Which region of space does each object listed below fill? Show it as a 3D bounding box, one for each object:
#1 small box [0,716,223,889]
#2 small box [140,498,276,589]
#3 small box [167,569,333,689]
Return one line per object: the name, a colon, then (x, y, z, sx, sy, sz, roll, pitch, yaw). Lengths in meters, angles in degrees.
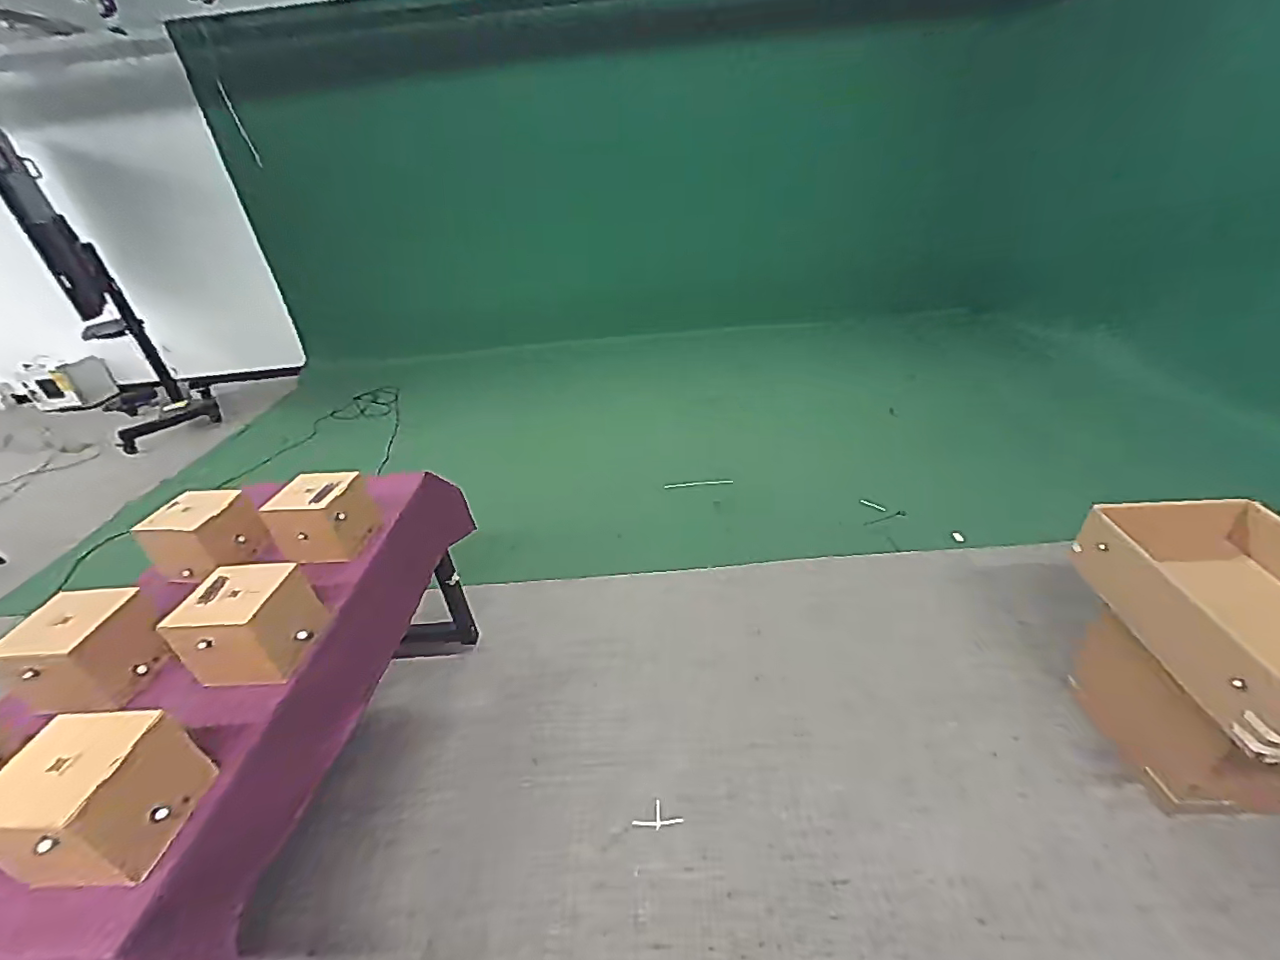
small box: (-0.789, 0.479, 0.804, 0.179, 0.176, 0.168, -5, 31, 4)
small box: (-1.079, 0.162, 1.371, 0.179, 0.176, 0.168, -1, 32, 9)
small box: (-0.764, 0.300, 1.083, 0.179, 0.176, 0.168, -4, 32, 5)
